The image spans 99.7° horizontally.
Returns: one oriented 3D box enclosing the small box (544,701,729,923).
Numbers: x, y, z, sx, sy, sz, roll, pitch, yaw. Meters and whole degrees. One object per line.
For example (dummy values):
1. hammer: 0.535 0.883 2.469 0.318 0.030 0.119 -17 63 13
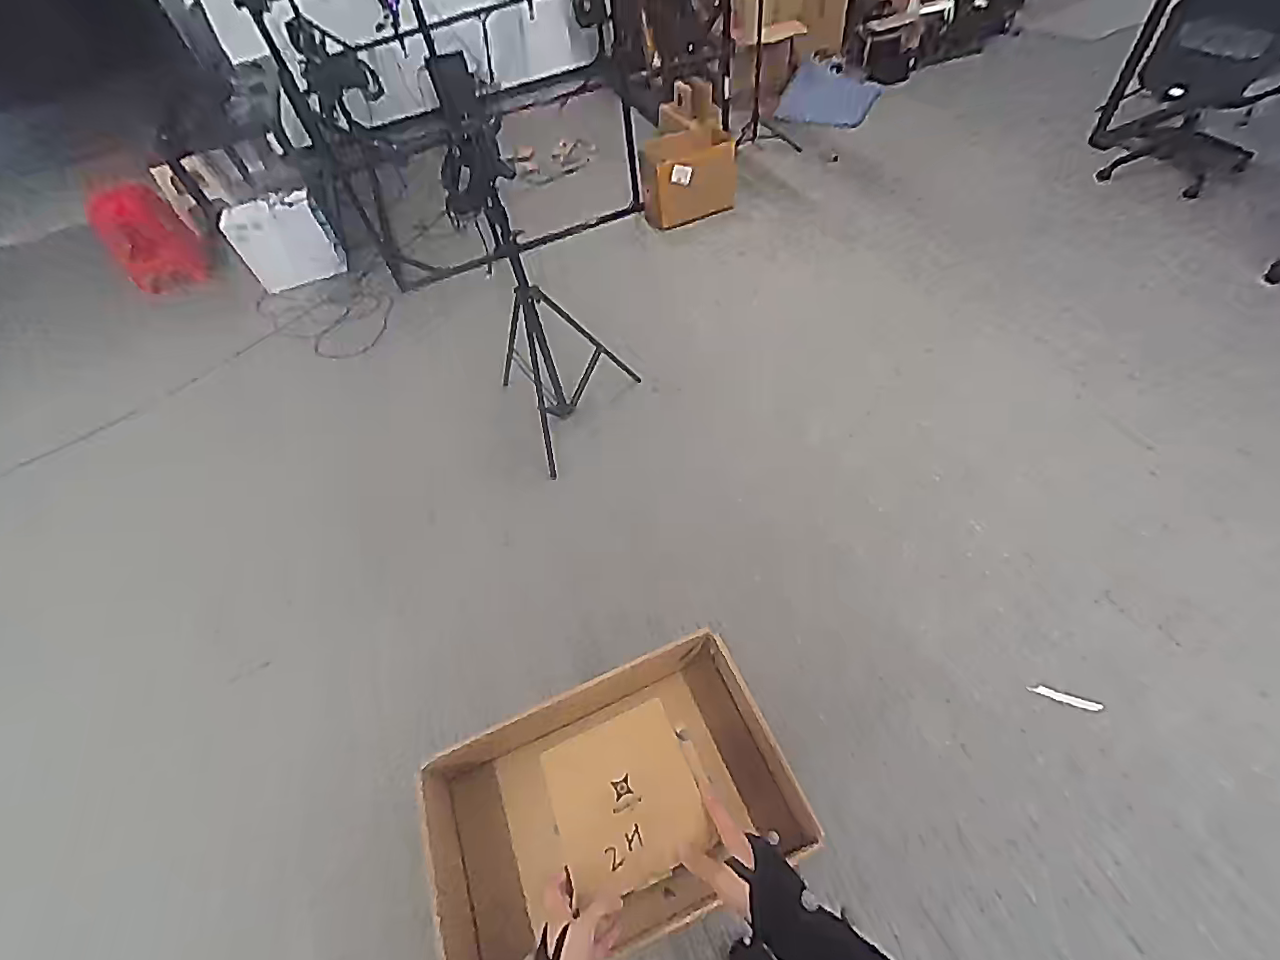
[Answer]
1. small box: -0.001 0.414 0.674 0.168 0.176 0.179 -23 49 -6
